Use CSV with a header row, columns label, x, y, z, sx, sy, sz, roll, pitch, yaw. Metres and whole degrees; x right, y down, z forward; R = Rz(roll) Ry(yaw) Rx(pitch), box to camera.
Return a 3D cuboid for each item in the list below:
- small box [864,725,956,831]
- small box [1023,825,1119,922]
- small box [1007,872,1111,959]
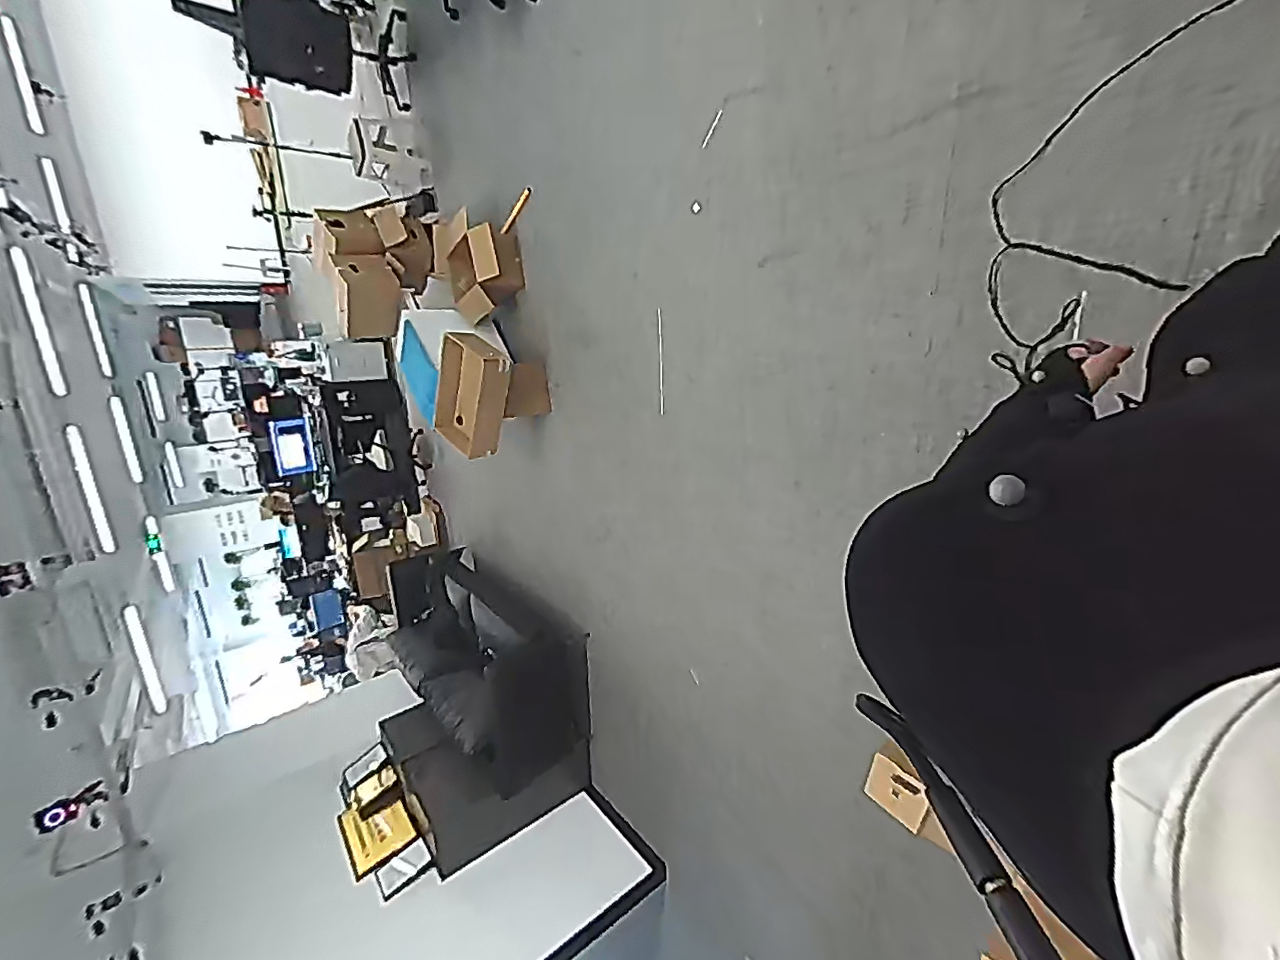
label,x,y,z,sx,sy,sz,roll,pitch,yaw
small box,0.790,0.859,1.575,0.168,0.176,0.179,30,125,45
small box,1.154,1.085,1.448,0.168,0.176,0.179,8,107,52
small box,1.038,1.135,1.340,0.168,0.176,0.179,9,109,52
